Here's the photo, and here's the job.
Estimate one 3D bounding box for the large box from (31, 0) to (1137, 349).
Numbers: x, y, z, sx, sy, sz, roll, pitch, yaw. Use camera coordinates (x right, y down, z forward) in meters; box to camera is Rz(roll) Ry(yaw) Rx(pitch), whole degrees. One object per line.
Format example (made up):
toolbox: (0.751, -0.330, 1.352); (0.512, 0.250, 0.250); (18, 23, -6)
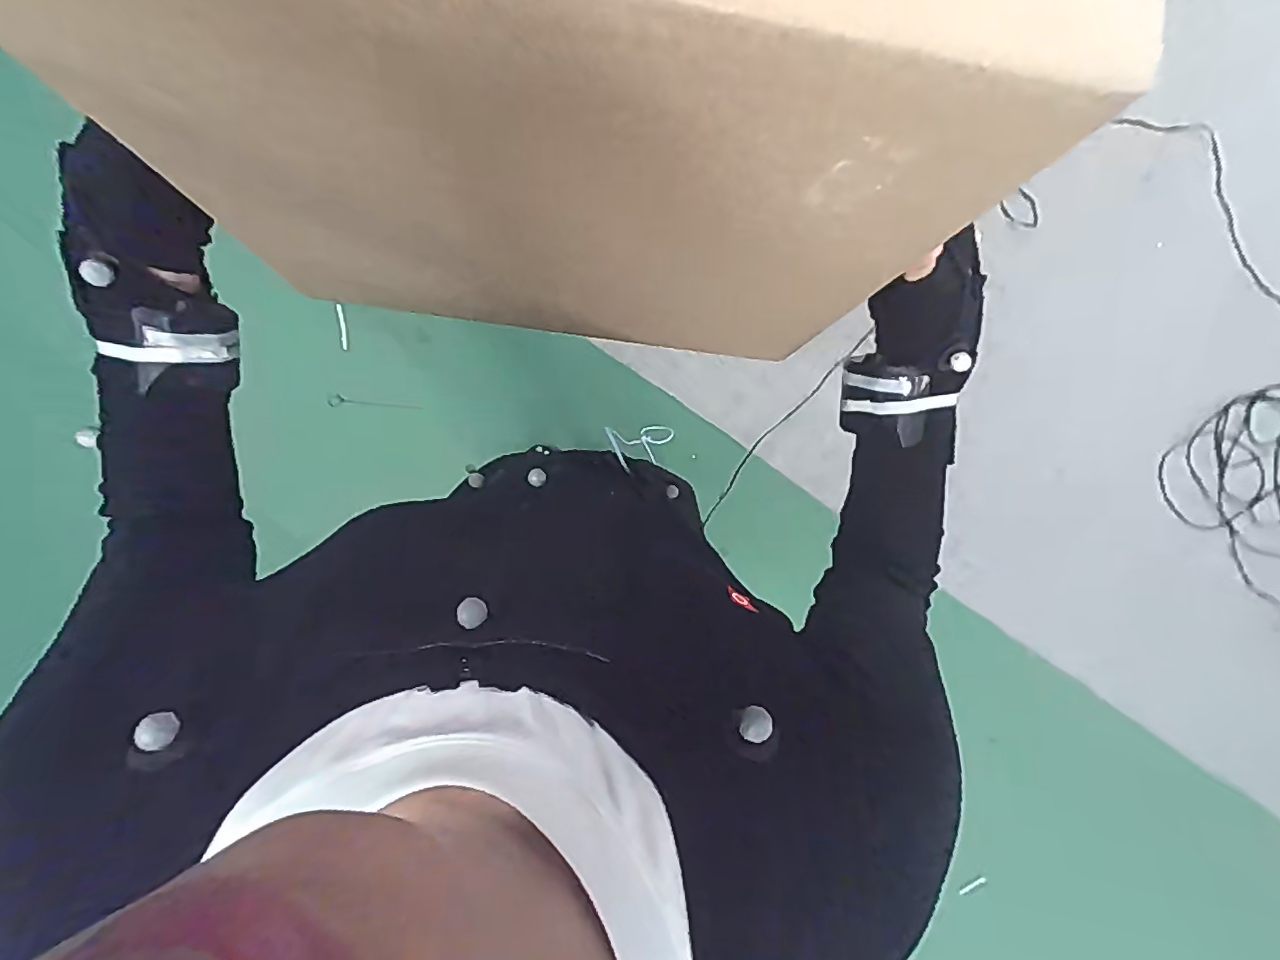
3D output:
large box: (-0.030, -0.295, 0.324); (0.408, 0.320, 0.320); (7, 86, -8)
